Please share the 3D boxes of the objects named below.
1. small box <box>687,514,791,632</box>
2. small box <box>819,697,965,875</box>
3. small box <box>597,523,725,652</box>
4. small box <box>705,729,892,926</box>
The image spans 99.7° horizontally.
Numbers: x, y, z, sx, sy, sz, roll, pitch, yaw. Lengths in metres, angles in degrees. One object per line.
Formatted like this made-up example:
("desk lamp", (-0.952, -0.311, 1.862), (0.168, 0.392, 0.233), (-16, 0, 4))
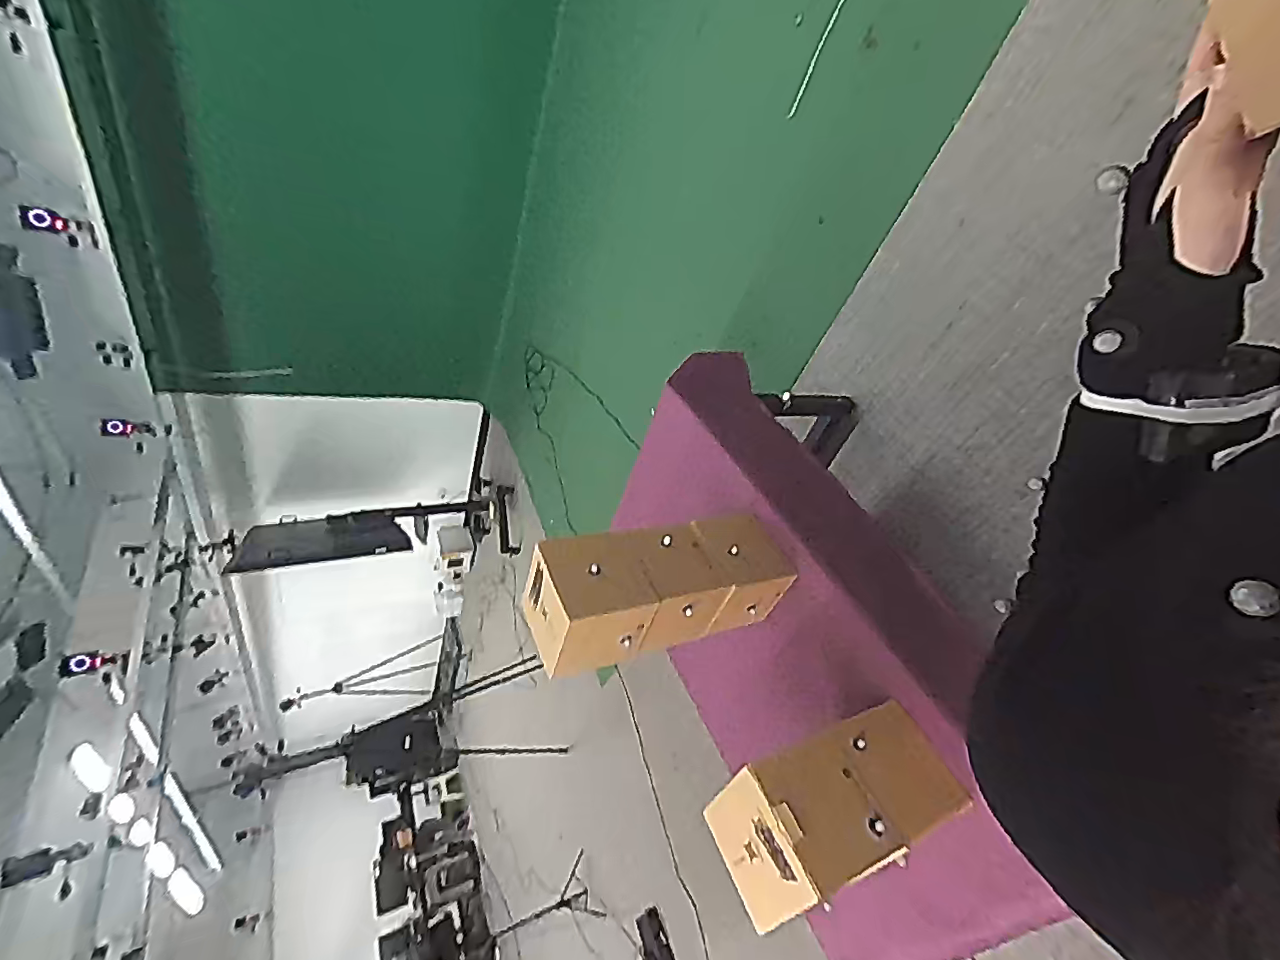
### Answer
("small box", (0.182, 0.187, 1.136), (0.179, 0.176, 0.168), (58, 139, 37))
("small box", (0.371, 0.484, 0.871), (0.179, 0.176, 0.168), (58, 139, 38))
("small box", (0.041, 0.203, 1.055), (0.168, 0.176, 0.179), (57, 140, 39))
("small box", (0.229, 0.496, 0.788), (0.168, 0.176, 0.179), (58, 141, 39))
